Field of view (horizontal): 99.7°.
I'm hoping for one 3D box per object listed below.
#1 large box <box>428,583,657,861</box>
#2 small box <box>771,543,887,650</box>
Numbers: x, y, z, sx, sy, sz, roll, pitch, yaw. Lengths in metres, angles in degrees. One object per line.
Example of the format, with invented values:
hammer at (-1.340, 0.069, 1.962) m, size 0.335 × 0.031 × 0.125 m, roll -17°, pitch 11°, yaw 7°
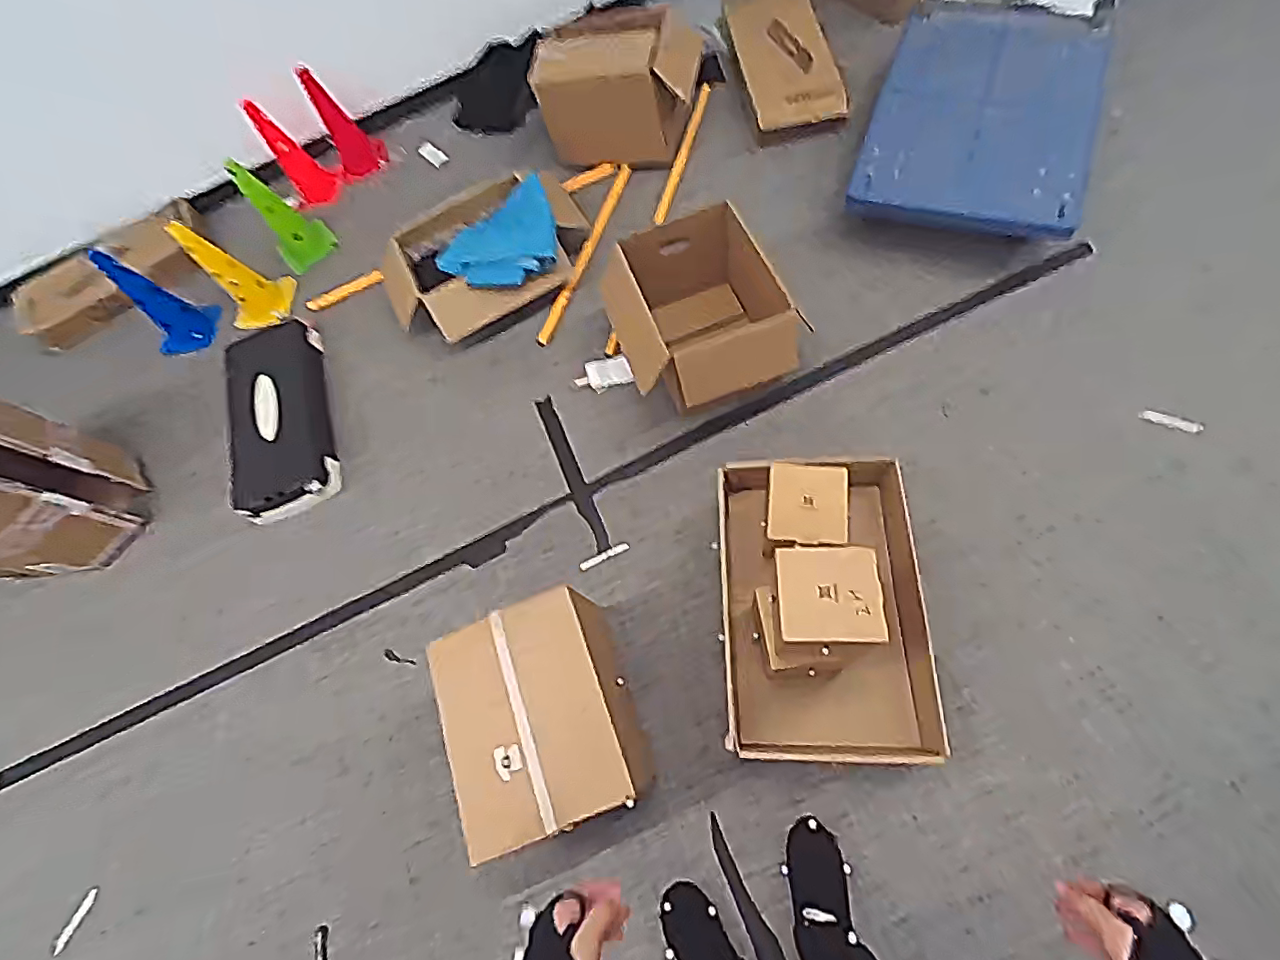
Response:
large box at (-0.192, 0.483, 1.144) m, size 0.320 × 0.320 × 0.408 m, roll -24°, pitch 67°, yaw 1°
small box at (0.337, 0.220, 1.004) m, size 0.179 × 0.176 × 0.168 m, roll -1°, pitch 66°, yaw 8°
